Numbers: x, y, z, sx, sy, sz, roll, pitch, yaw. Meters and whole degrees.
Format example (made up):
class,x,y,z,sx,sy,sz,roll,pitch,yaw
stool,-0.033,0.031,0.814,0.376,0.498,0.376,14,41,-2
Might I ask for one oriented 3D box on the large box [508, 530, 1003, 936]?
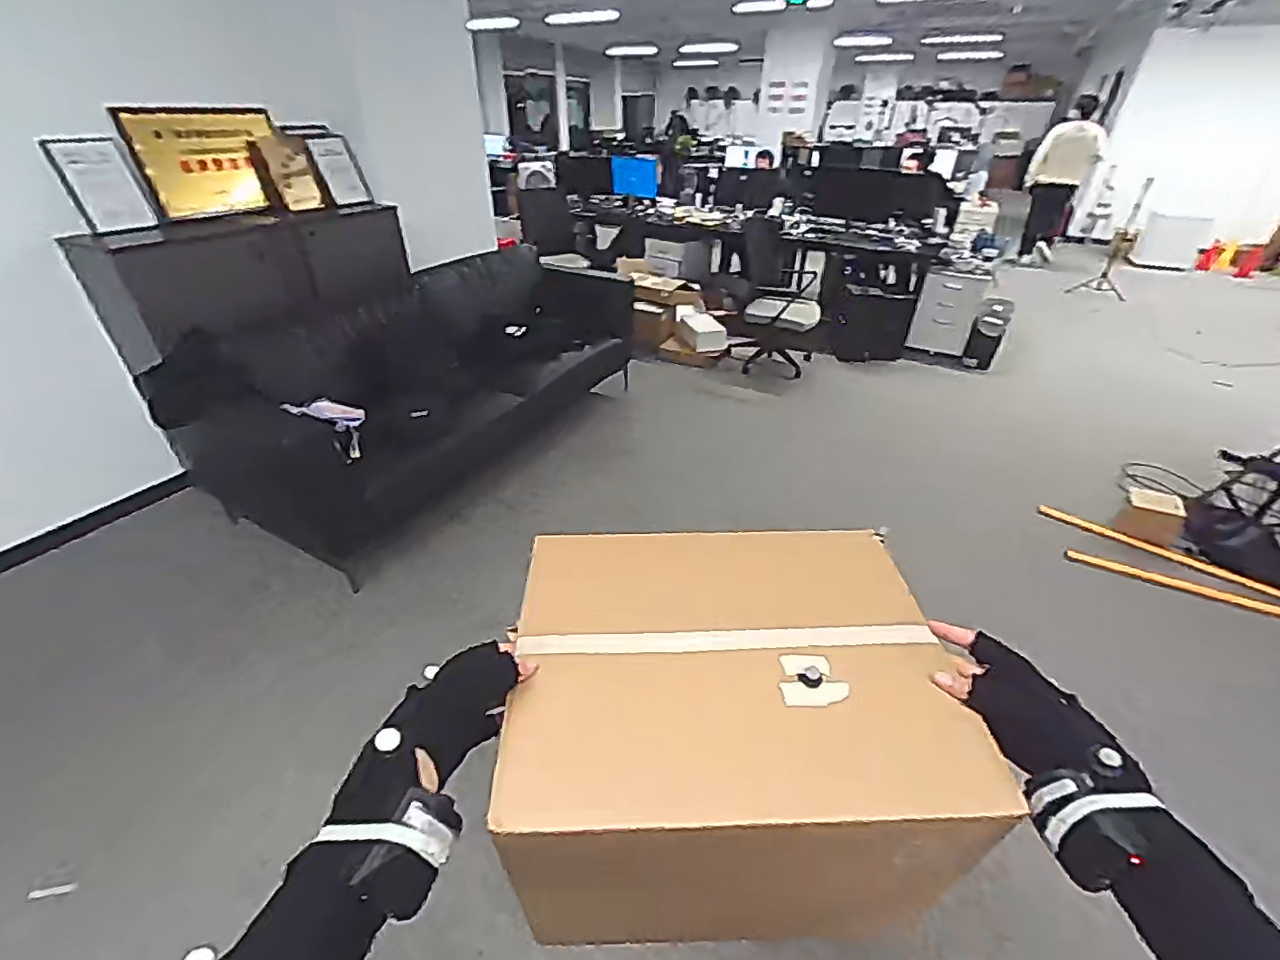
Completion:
class,x,y,z,sx,sy,sz,roll,pitch,yaw
large box,0.082,0.277,0.624,0.408,0.320,0.320,-1,38,-3
